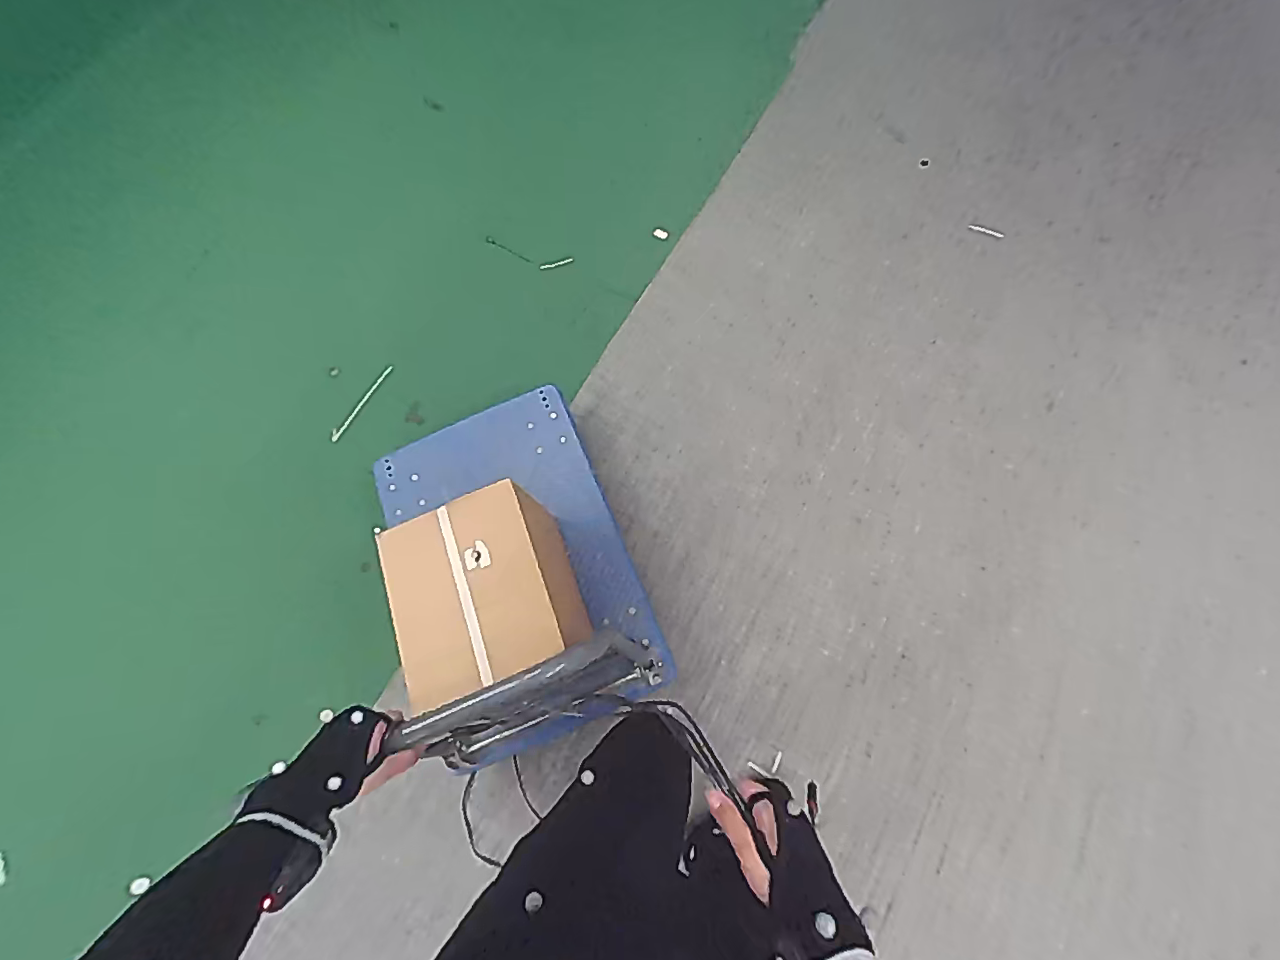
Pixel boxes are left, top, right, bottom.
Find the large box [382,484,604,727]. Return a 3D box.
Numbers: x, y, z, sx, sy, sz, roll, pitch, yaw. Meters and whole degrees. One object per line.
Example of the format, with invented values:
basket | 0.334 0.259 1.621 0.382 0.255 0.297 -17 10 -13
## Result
large box | -0.314 0.285 1.215 0.320 0.320 0.408 -23 68 0
